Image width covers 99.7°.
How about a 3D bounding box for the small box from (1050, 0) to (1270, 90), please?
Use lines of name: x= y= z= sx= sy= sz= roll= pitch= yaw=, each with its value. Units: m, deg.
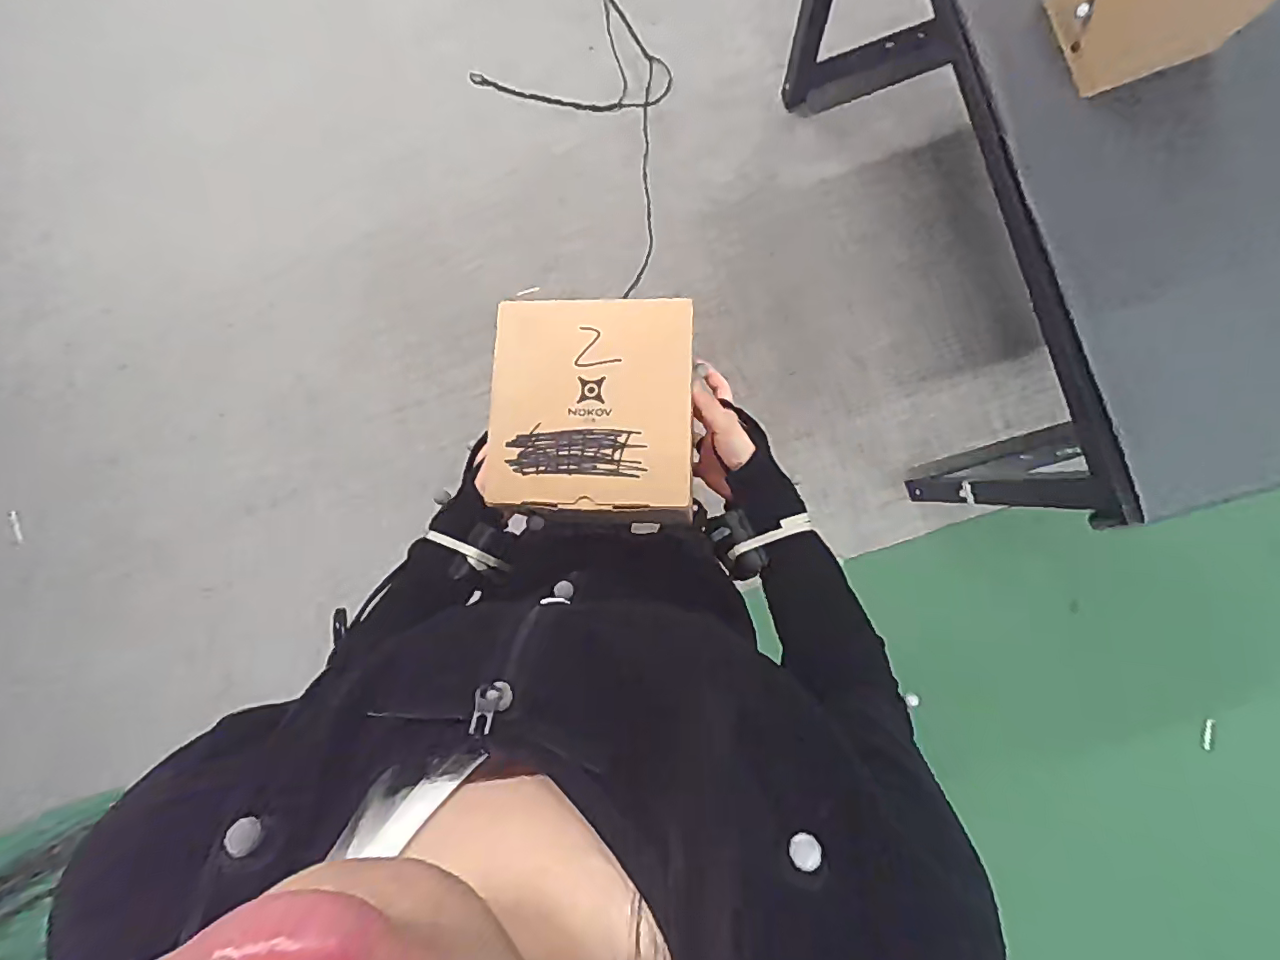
small box: x=0.639 y=-0.614 z=0.632 sx=0.179 sy=0.176 sz=0.168 roll=-18 pitch=87 yaw=4
